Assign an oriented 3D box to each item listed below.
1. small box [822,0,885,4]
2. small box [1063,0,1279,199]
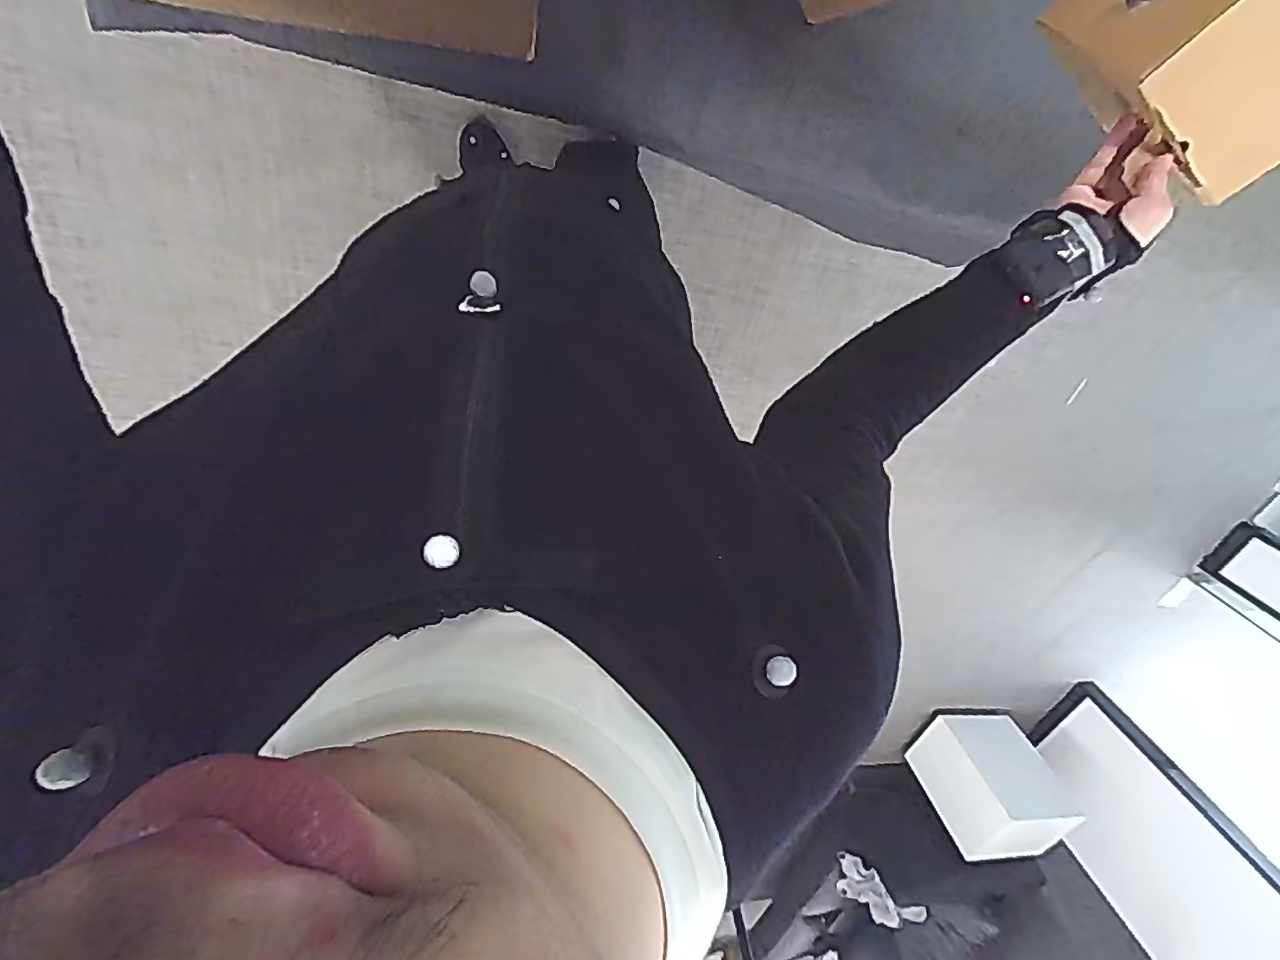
[{"bbox_3d":[0.215,-0.571,0.476,0.168,0.176,0.179,-39,123,18],"label":"small box"},{"bbox_3d":[0.481,-0.376,0.424,0.168,0.176,0.179,21,137,-28],"label":"small box"}]
